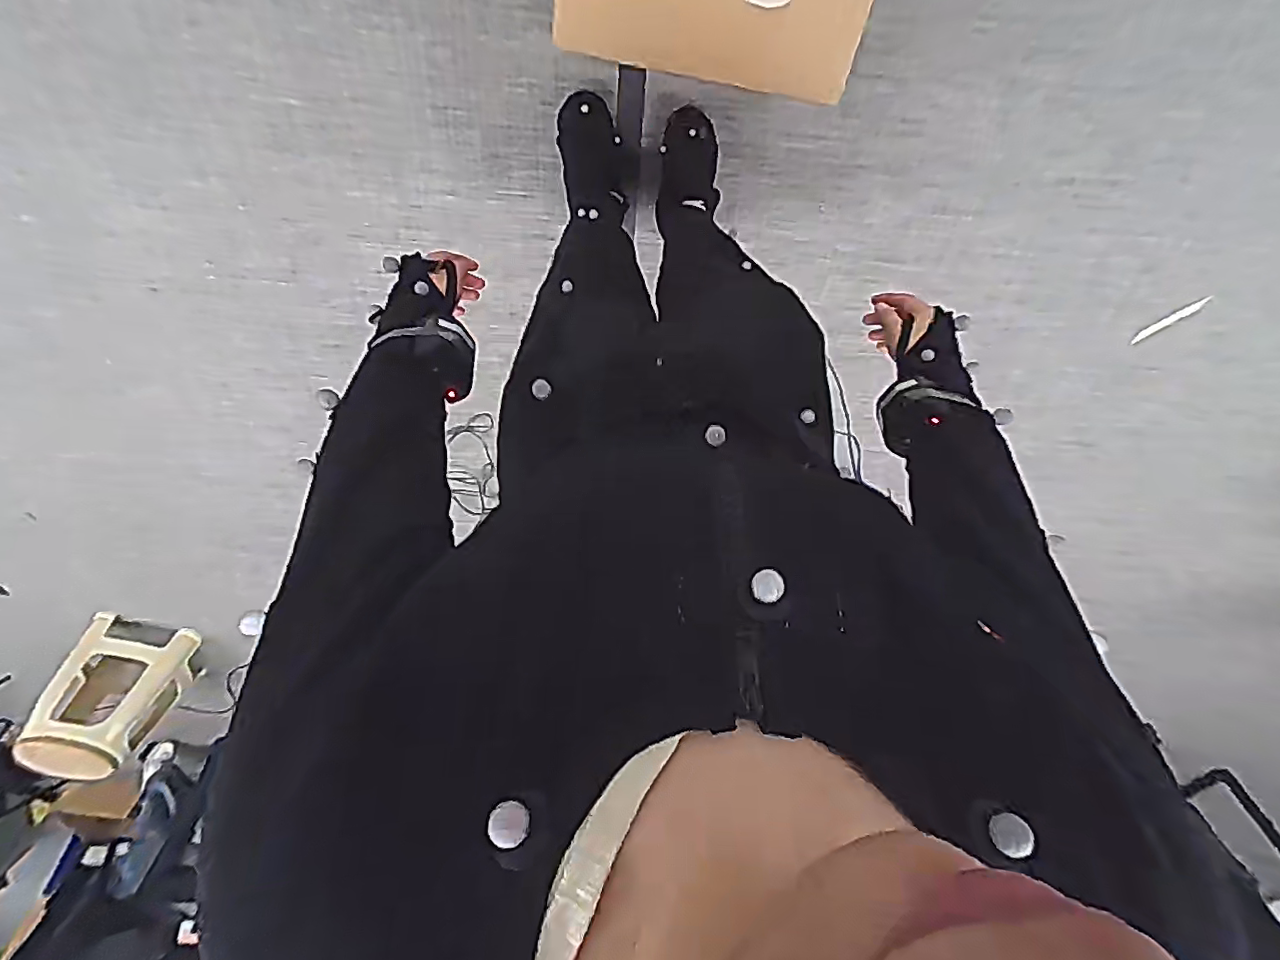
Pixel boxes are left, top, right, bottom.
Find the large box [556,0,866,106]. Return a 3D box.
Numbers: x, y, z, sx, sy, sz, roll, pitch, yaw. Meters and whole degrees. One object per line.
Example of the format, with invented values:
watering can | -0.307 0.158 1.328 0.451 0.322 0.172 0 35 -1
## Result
large box | 0.097 -0.763 0.767 0.408 0.320 0.320 6 131 -7
